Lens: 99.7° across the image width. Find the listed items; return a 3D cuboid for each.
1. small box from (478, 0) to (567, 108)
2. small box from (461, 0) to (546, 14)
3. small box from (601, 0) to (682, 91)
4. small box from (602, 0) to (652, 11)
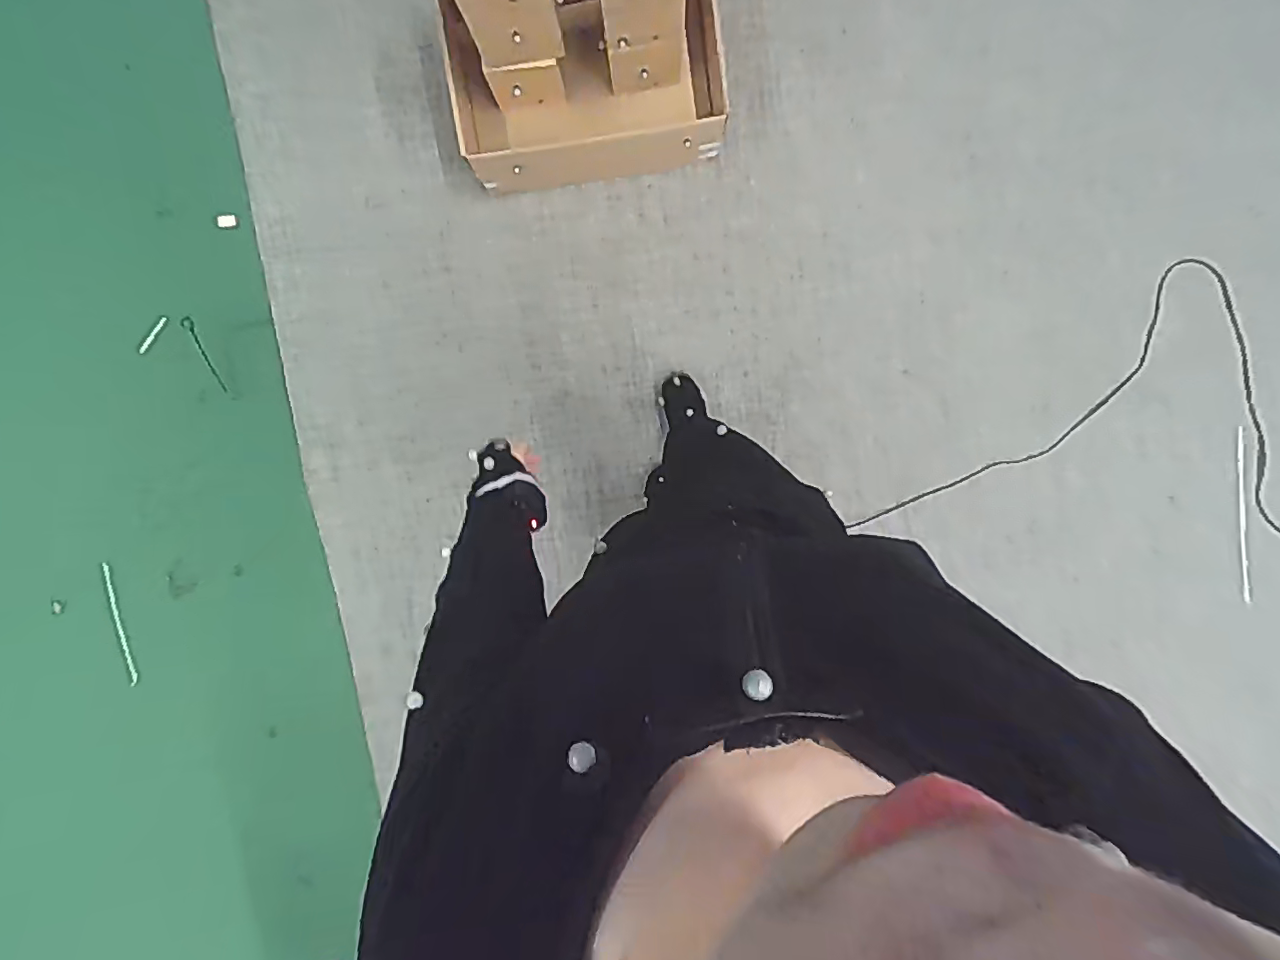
[{"bbox_3d":[-0.266,-0.992,1.250,0.168,0.176,0.179,-4,97,1],"label":"small box"},{"bbox_3d":[-0.261,-0.956,0.922,0.168,0.176,0.179,-6,96,3],"label":"small box"},{"bbox_3d":[0.005,-1.029,1.237,0.168,0.176,0.179,-8,97,3],"label":"small box"},{"bbox_3d":[-0.011,-0.962,0.915,0.168,0.176,0.179,-12,98,4],"label":"small box"}]
